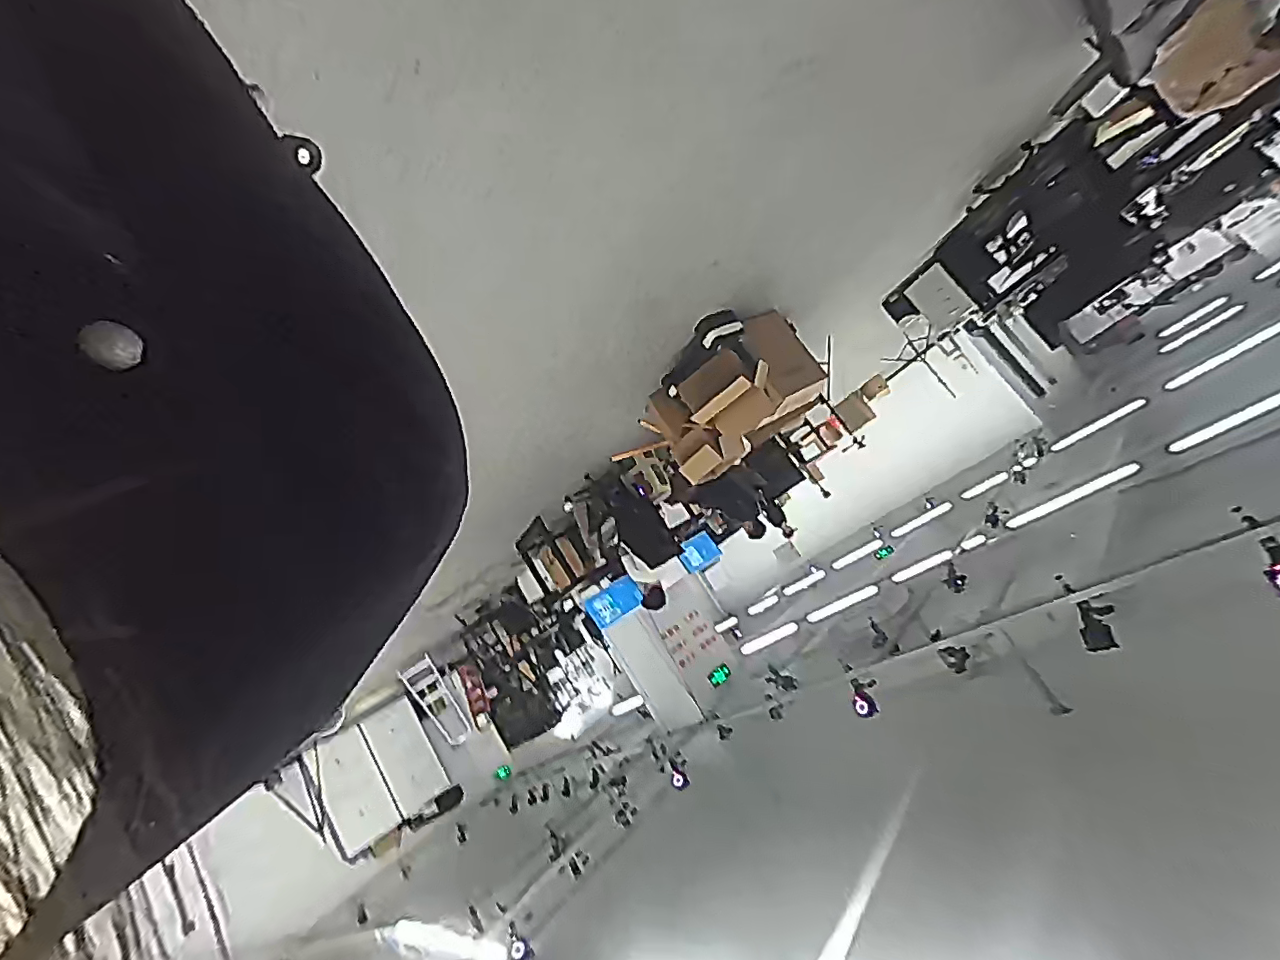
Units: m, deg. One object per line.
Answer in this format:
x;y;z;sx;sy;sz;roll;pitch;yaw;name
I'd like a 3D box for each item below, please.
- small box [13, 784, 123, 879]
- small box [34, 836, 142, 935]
-1.700;1.044;1.613;0.179;0.176;0.168;-22;162;-42;small box
-1.612;1.178;1.582;0.168;0.176;0.179;-25;163;-41;small box
